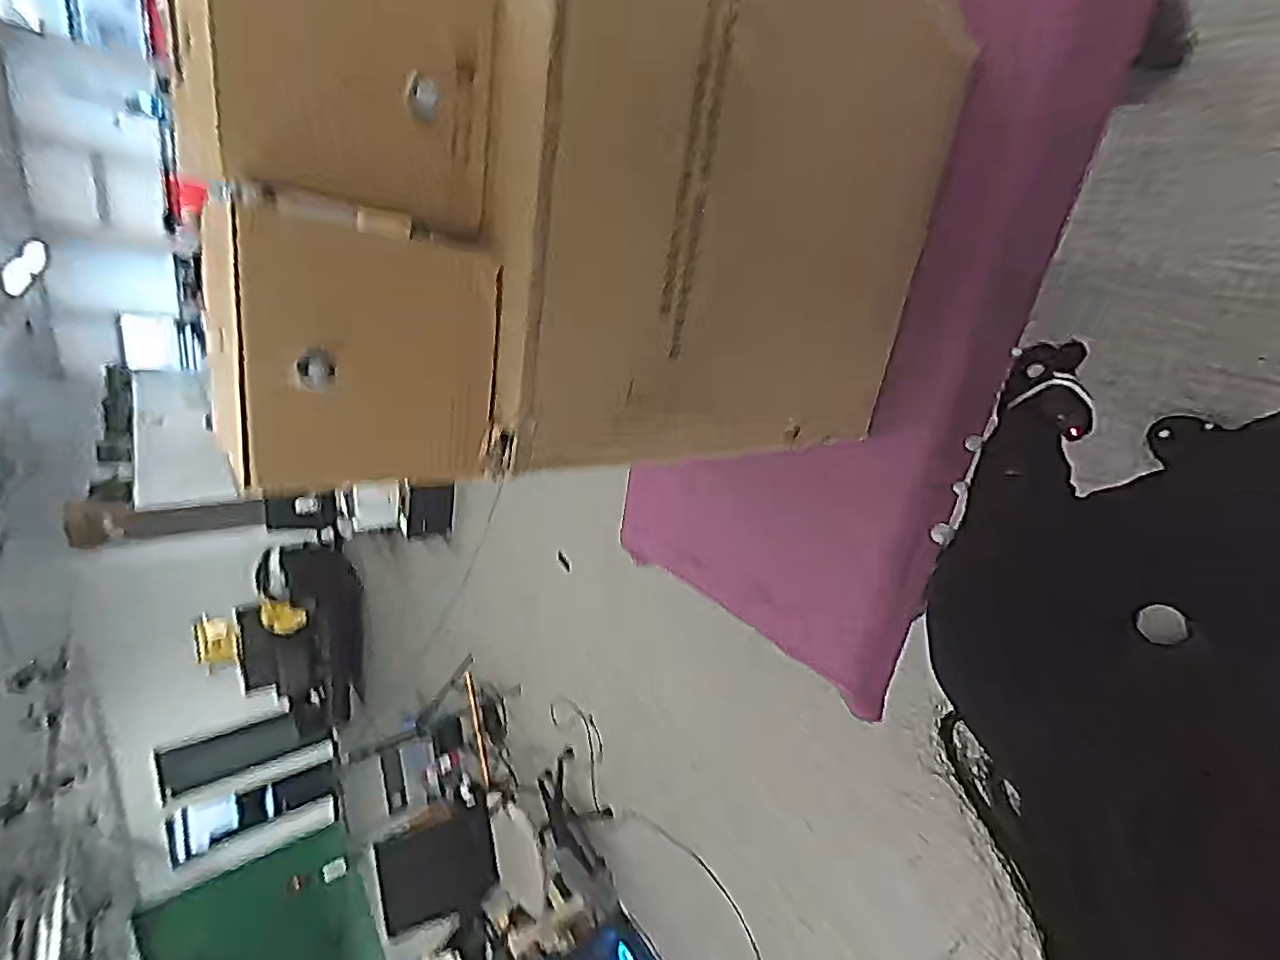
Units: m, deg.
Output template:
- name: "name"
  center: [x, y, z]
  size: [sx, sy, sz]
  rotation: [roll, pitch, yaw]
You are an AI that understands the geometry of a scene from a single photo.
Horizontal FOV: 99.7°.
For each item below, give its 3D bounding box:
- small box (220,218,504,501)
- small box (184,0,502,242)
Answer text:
- name: "small box"
  center: [-0.225, -0.097, 0.439]
  size: [0.168, 0.176, 0.179]
  rotation: [24, 111, 45]
- name: "small box"
  center: [-0.227, -0.287, 0.412]
  size: [0.179, 0.176, 0.168]
  rotation: [29, 118, 41]
